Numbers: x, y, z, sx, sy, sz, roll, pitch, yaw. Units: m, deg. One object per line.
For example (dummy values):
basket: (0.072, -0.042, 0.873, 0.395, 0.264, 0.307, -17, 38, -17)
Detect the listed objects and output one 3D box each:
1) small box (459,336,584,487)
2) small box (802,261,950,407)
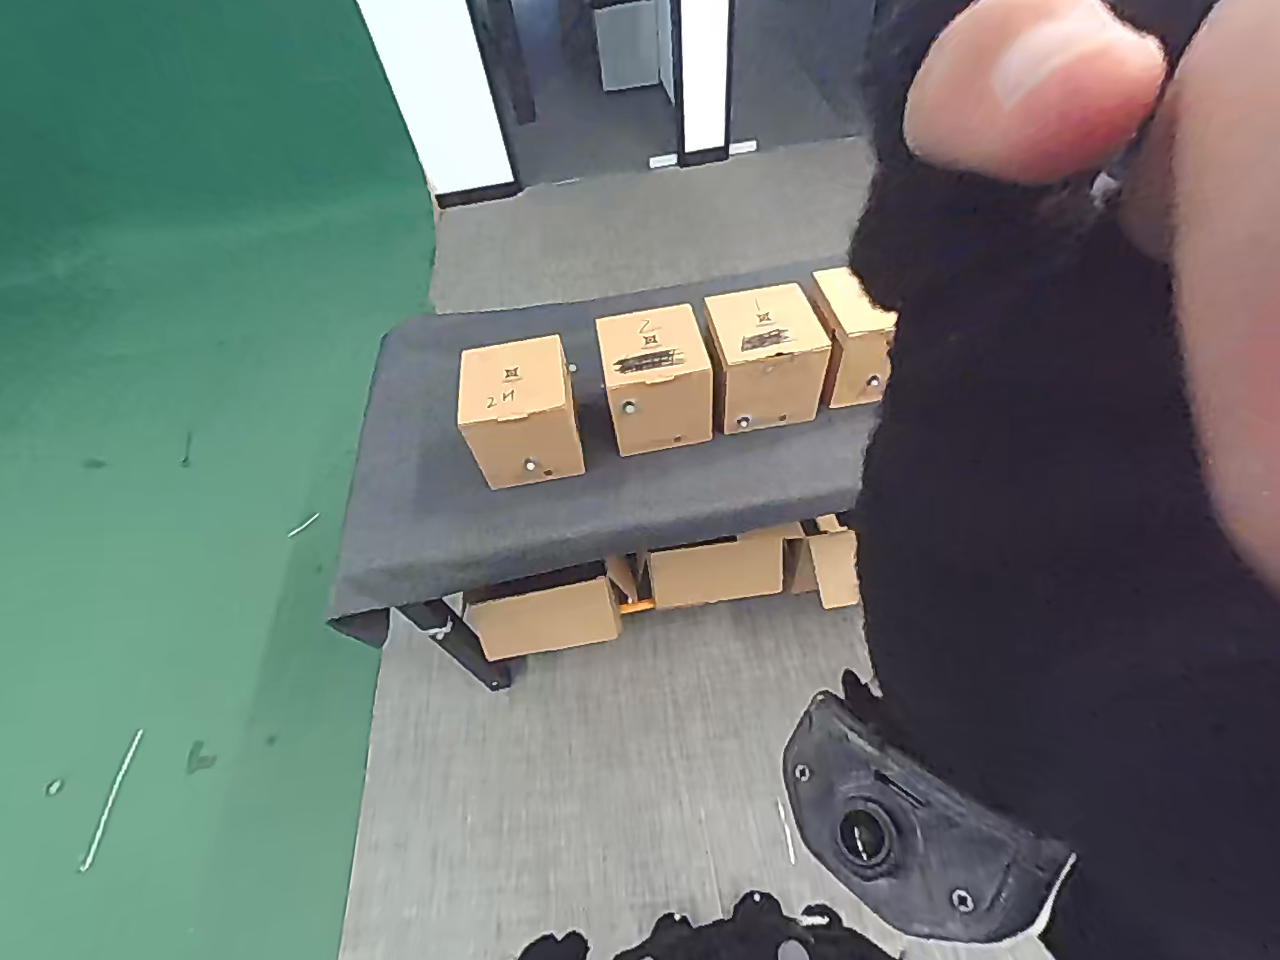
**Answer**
small box: (-0.192, -0.113, 0.914, 0.168, 0.176, 0.179, -10, 53, -1)
small box: (0.400, -0.255, 0.956, 0.168, 0.176, 0.179, -9, 54, 0)
